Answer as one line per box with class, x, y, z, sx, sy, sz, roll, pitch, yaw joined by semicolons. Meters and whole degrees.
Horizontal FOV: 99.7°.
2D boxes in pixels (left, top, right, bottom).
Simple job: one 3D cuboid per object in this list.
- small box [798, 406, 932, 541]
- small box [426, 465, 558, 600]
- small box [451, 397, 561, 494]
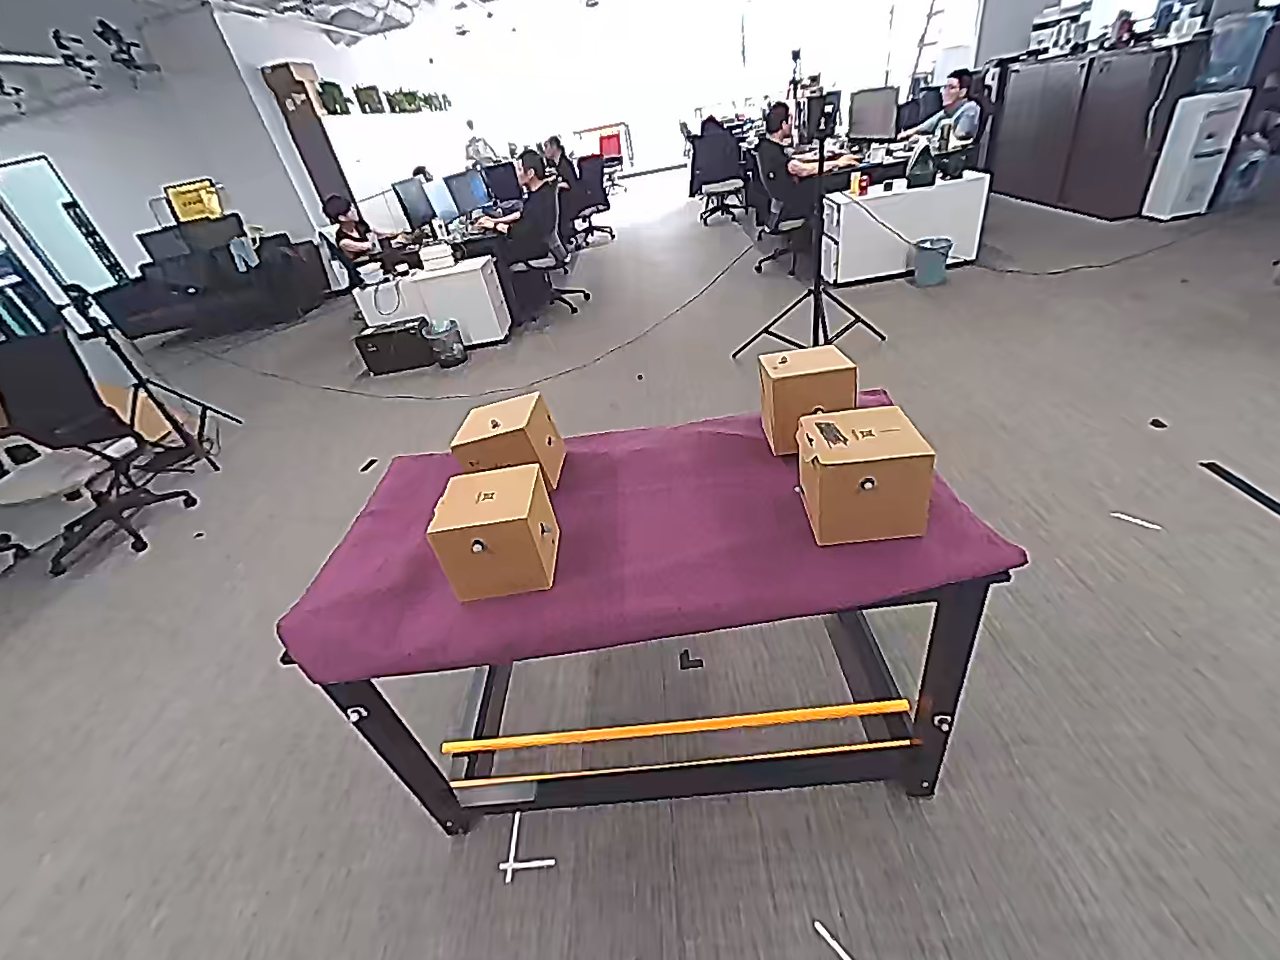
small box;0.381;-0.009;0.945;0.179;0.176;0.168;-7;33;7
small box;-0.255;0.097;0.988;0.179;0.176;0.168;-9;34;4
small box;-0.285;-0.067;1.208;0.179;0.168;0.176;-13;33;12
